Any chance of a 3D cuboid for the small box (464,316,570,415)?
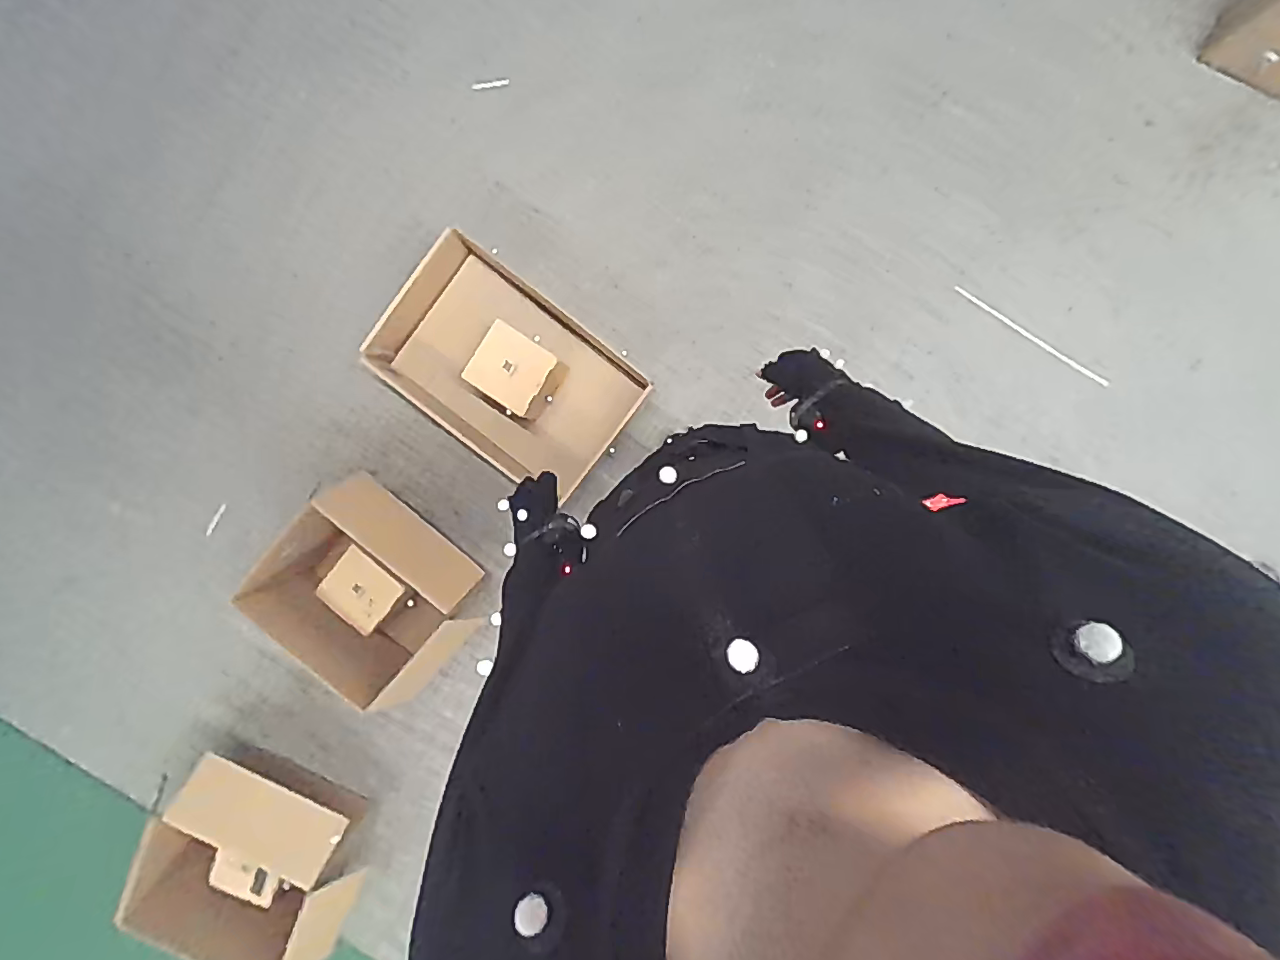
[{"bbox_3d":[-0.296,-0.272,1.339,0.179,0.176,0.168,33,94,0],"label":"small box"}]
